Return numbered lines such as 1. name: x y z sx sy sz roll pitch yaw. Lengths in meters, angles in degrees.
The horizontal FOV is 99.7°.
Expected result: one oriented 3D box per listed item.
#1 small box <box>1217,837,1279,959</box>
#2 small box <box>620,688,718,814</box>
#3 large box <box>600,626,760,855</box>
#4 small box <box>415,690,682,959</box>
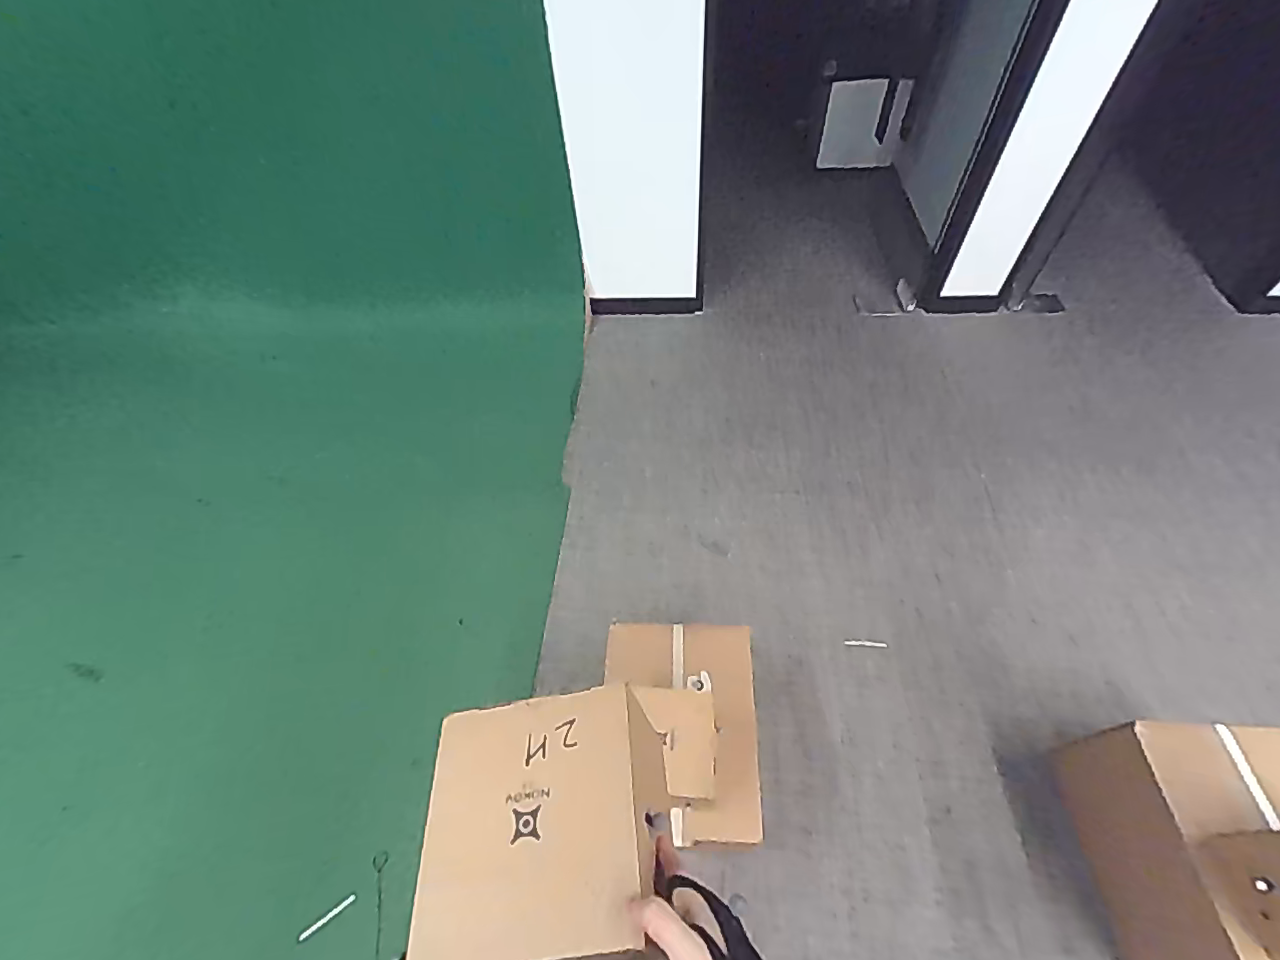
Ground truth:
1. small box: 1.044 0.627 0.796 0.179 0.176 0.168 -1 54 5
2. small box: 0.046 0.485 0.962 0.179 0.176 0.168 2 52 8
3. large box: 0.078 0.577 1.198 0.320 0.320 0.408 1 52 5
4. small box: -0.063 0.311 0.468 0.168 0.176 0.179 -11 45 5
